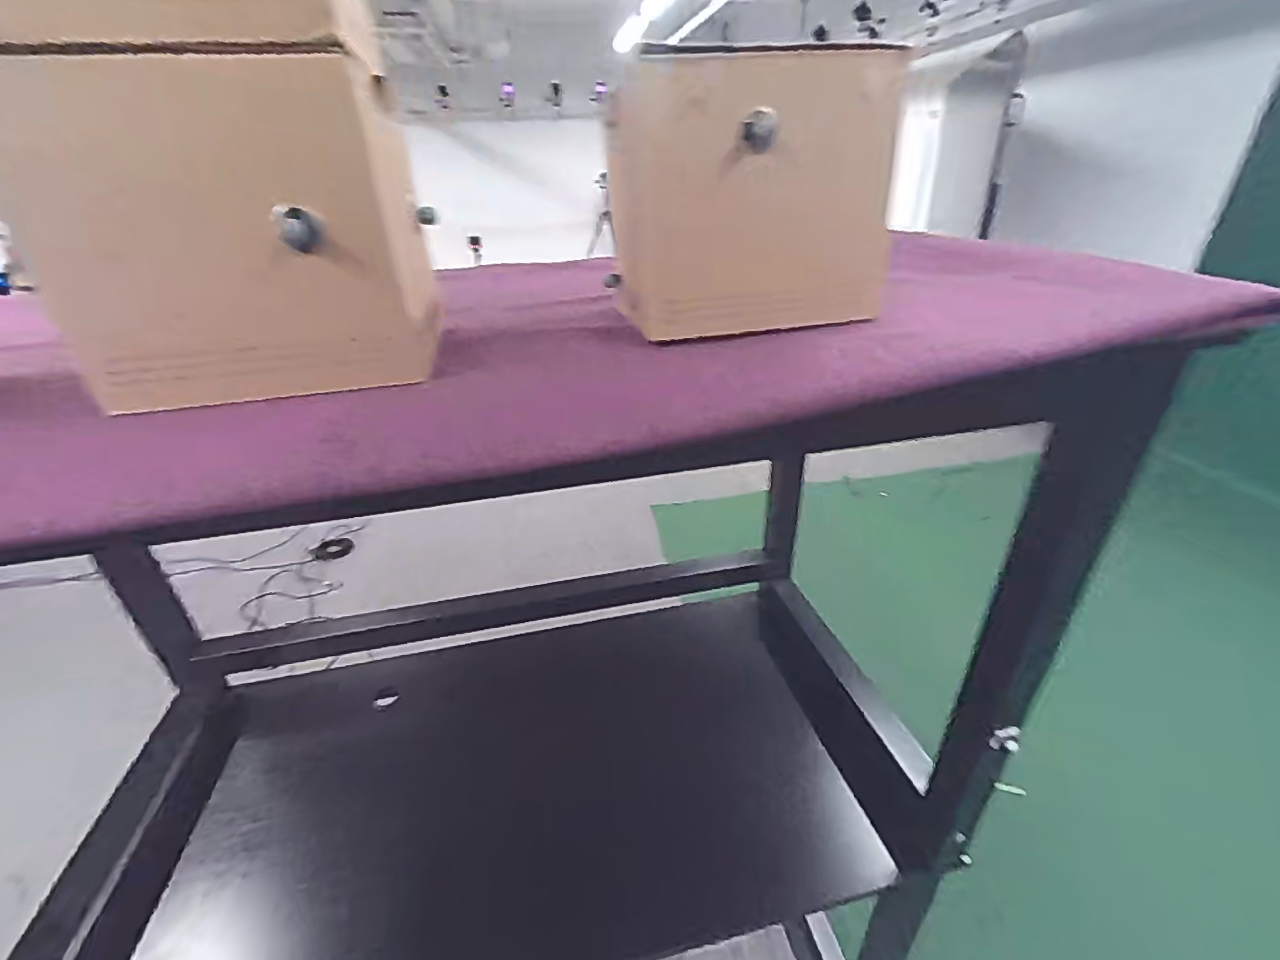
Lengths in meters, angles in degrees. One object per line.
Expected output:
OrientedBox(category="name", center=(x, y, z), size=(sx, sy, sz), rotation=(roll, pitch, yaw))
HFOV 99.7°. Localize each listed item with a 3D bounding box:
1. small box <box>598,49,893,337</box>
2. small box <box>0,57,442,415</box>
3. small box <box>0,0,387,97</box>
OrientedBox(category="small box", center=(0.069, -0.215, 0.434), size=(0.179, 0.176, 0.168), rotation=(-8, 27, -9))
OrientedBox(category="small box", center=(-0.239, -0.155, 0.354), size=(0.179, 0.176, 0.168), rotation=(-10, 29, -11))
OrientedBox(category="small box", center=(-0.252, -0.298, 0.277), size=(0.179, 0.176, 0.168), rotation=(-10, 29, -13))
